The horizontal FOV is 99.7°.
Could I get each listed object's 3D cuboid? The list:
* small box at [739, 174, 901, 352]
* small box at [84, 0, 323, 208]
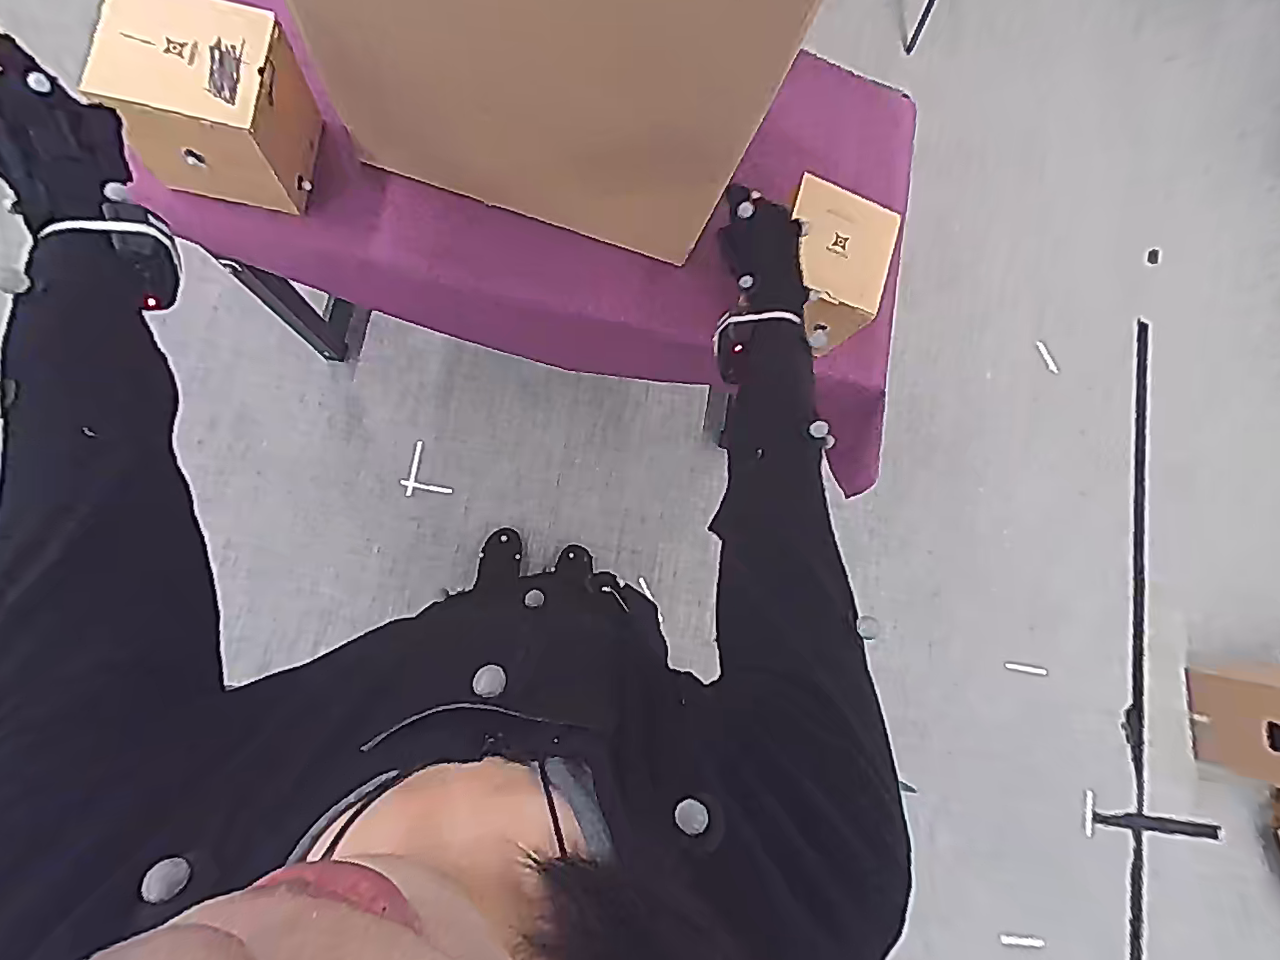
[{"bbox_3d":[0.274,-0.328,0.857,0.168,0.176,0.179,19,78,-9],"label":"small box"},{"bbox_3d":[-0.547,-0.492,0.710,0.179,0.176,0.168,8,80,-11],"label":"small box"}]
